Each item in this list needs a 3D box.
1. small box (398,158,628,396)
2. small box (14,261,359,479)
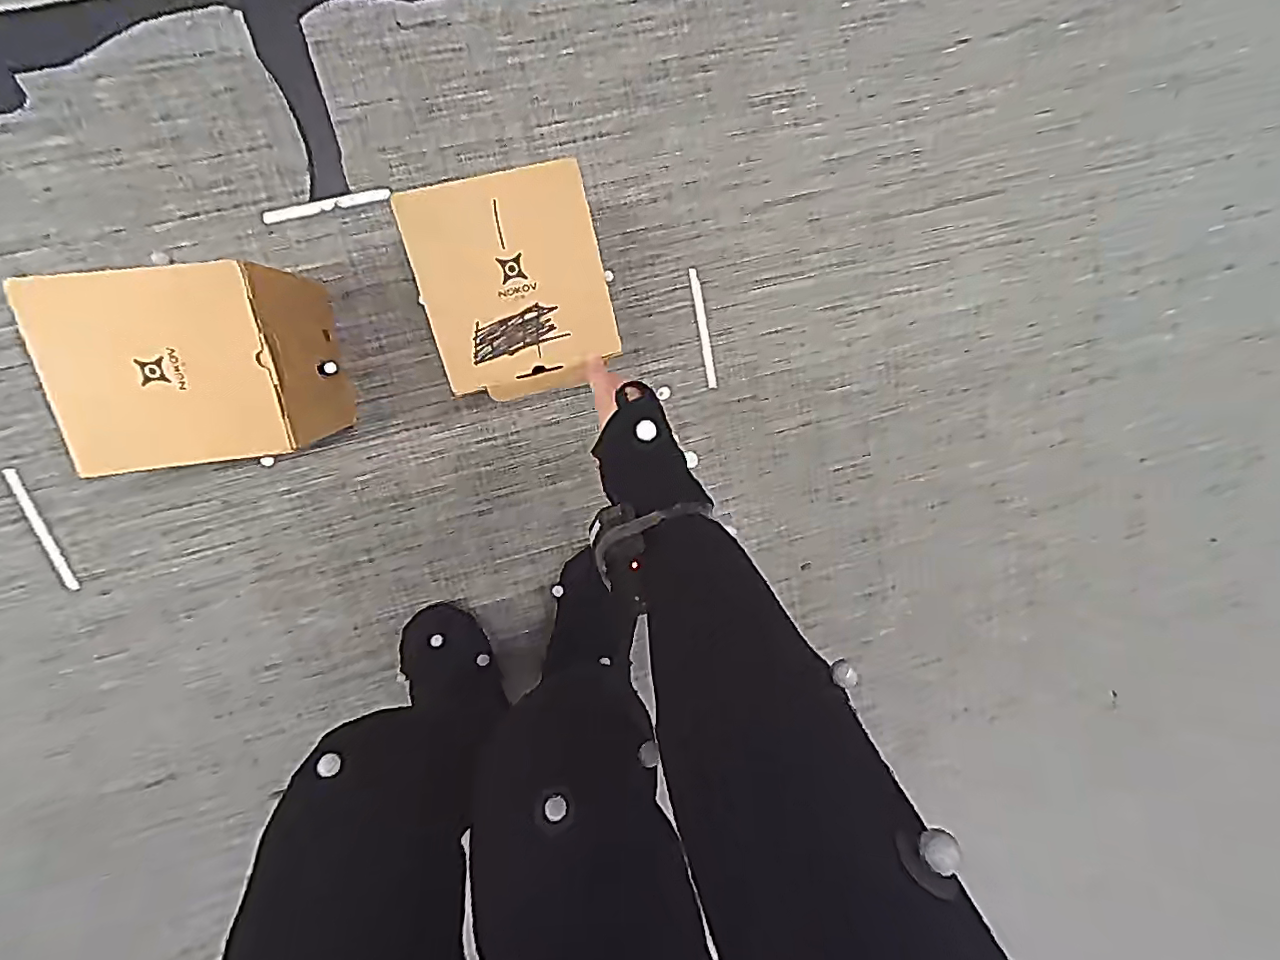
[{"bbox_3d":[-0.119,-0.197,0.556,0.168,0.176,0.179,-16,106,-7],"label":"small box"},{"bbox_3d":[-0.408,-0.108,0.527,0.179,0.176,0.168,-9,106,-8],"label":"small box"}]
